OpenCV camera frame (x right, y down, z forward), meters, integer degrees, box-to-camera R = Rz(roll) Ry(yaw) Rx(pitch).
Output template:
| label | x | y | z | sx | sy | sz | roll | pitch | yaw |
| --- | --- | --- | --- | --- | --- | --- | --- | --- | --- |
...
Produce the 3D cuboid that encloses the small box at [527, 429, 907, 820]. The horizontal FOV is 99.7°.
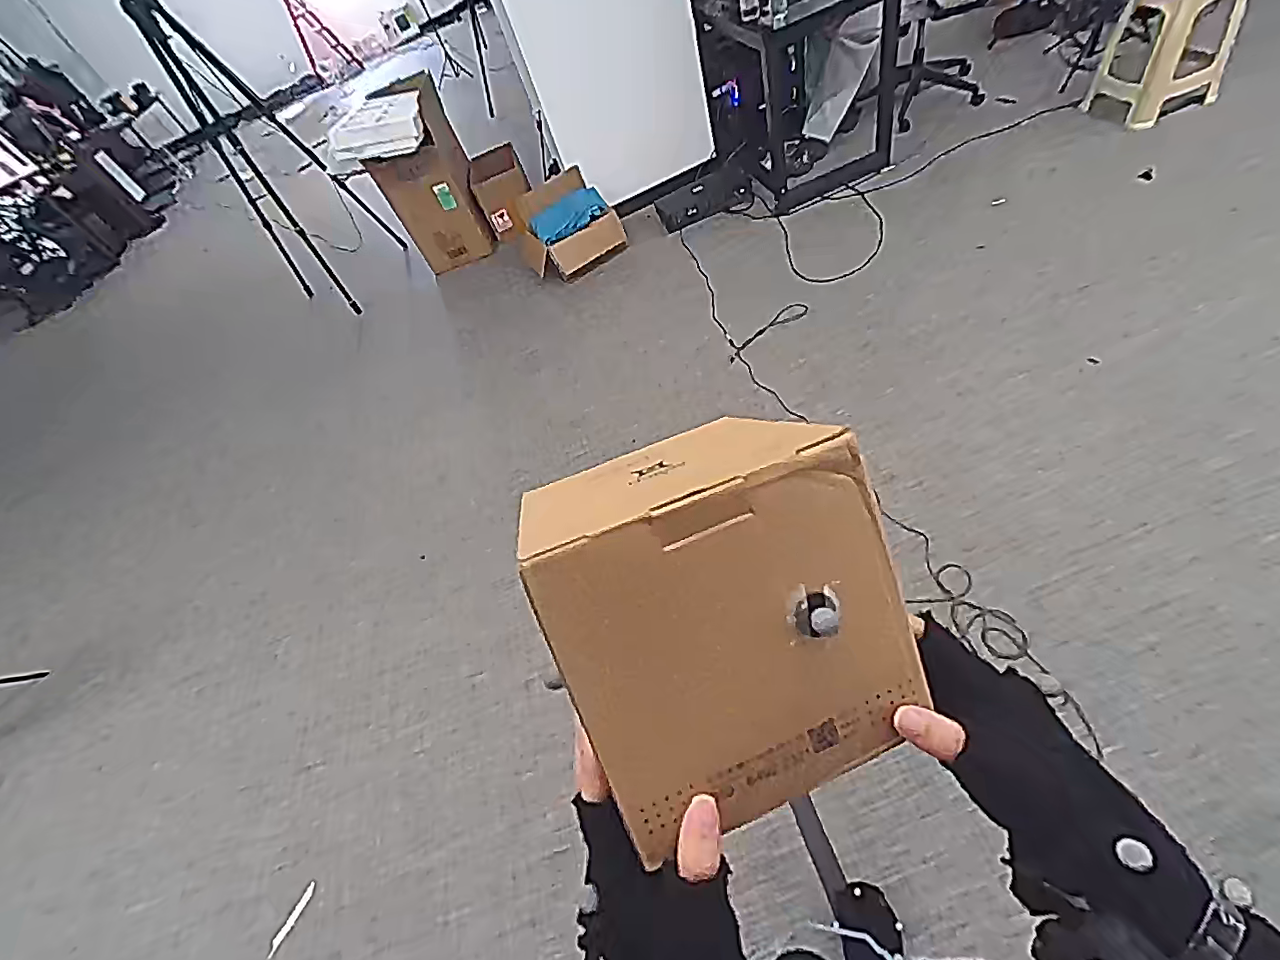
| label | x | y | z | sx | sy | sz | roll | pitch | yaw |
| --- | --- | --- | --- | --- | --- | --- | --- | --- | --- |
| small box | 0.038 | 0.078 | 0.352 | 0.168 | 0.176 | 0.179 | -22 | 10 | -6 |
